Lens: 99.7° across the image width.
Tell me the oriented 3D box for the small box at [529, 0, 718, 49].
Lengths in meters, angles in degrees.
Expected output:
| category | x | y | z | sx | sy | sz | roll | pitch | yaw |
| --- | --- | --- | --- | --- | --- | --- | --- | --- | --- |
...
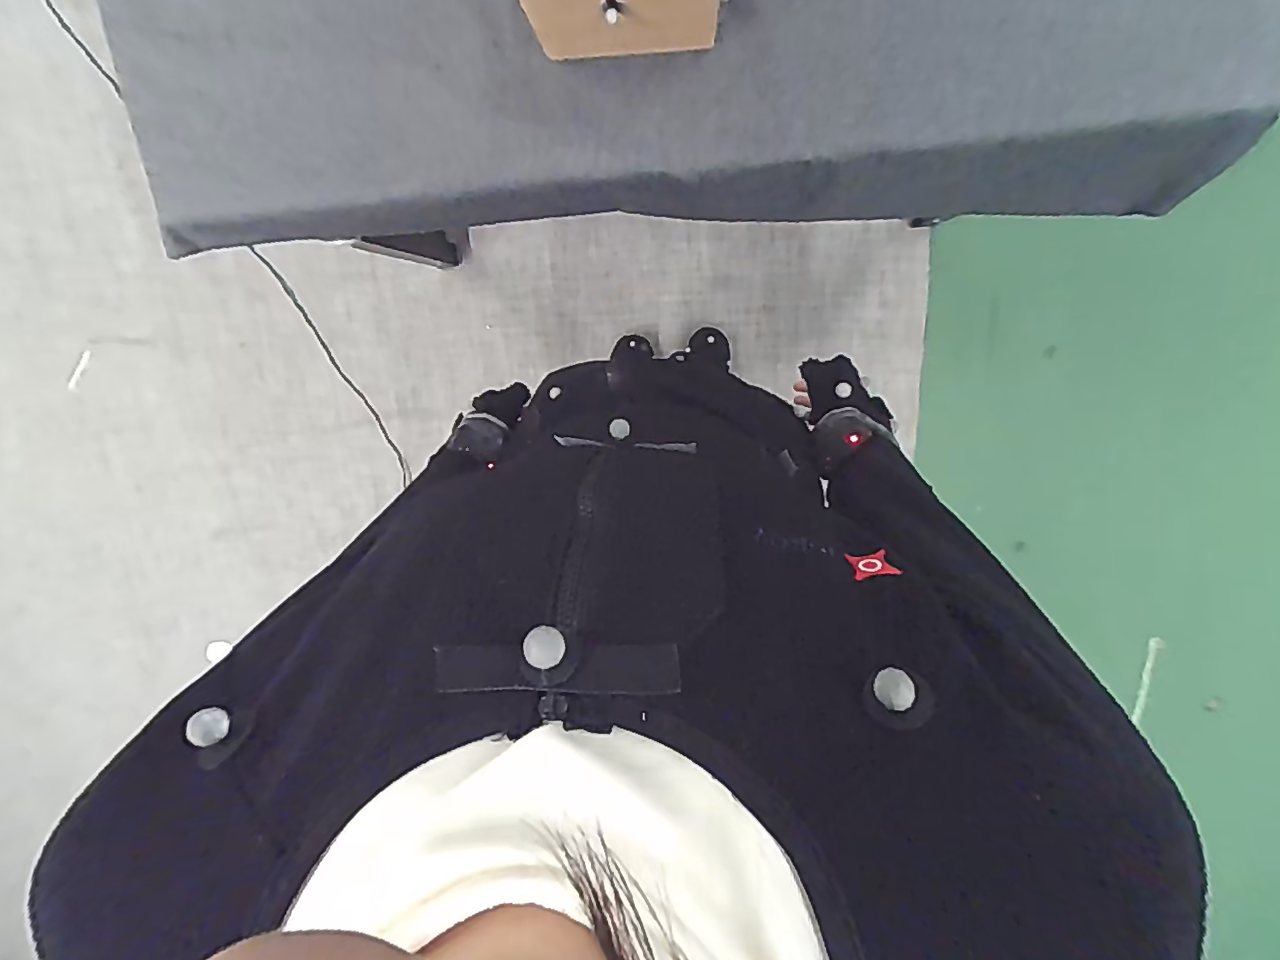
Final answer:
| category | x | y | z | sx | sy | sz | roll | pitch | yaw |
| --- | --- | --- | --- | --- | --- | --- | --- | --- | --- |
| small box | -0.016 | -0.505 | 0.460 | 0.179 | 0.176 | 0.168 | 0 | 106 | 5 |
